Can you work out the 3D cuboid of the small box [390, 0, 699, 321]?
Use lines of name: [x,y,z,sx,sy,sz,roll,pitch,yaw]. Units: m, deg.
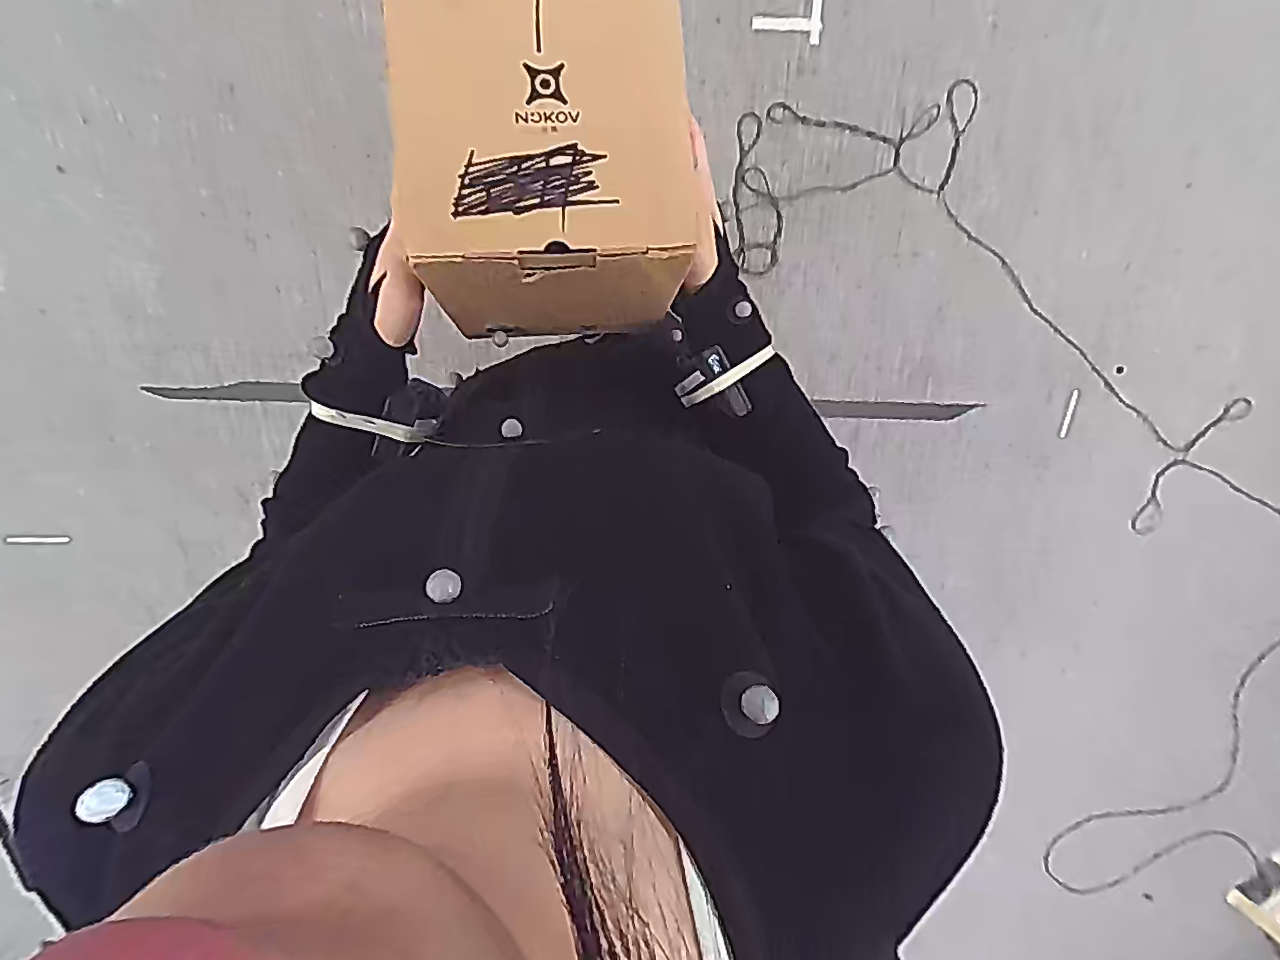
small box: [-0.060,-0.218,0.380,0.168,0.176,0.179,-4,89,-7]
